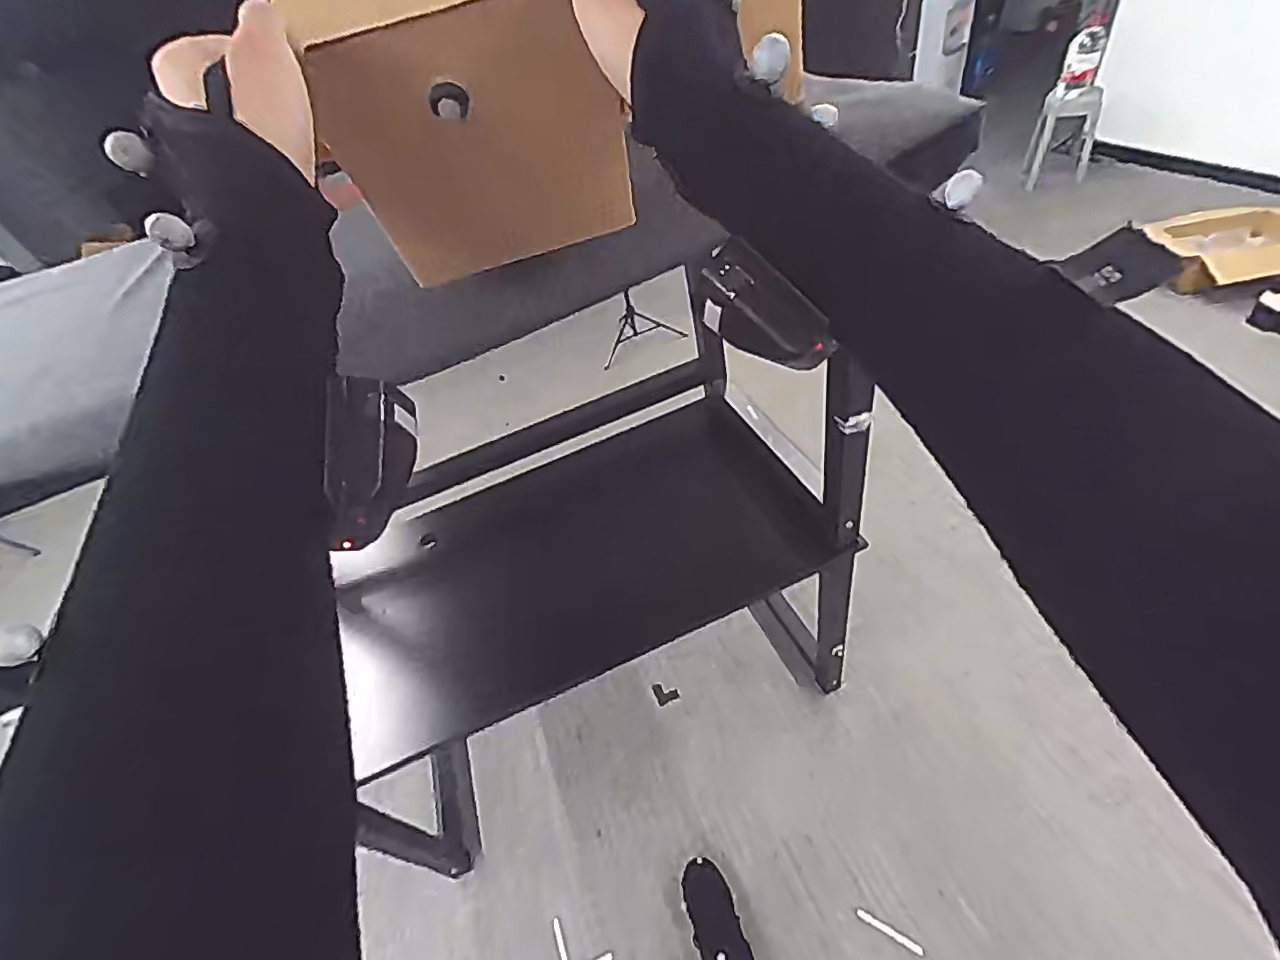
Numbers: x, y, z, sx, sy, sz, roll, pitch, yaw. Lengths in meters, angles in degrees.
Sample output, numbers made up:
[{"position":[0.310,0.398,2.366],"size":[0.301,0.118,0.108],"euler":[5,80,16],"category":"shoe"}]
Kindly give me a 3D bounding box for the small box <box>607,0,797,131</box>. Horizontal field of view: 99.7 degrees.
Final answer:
[{"position":[0.062,-0.517,0.606],"size":[0.168,0.176,0.179],"euler":[-20,45,-2],"category":"small box"}]

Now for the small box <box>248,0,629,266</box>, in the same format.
[{"position":[-0.117,-0.276,0.362],"size":[0.179,0.176,0.168],"euler":[-18,68,-2],"category":"small box"}]
